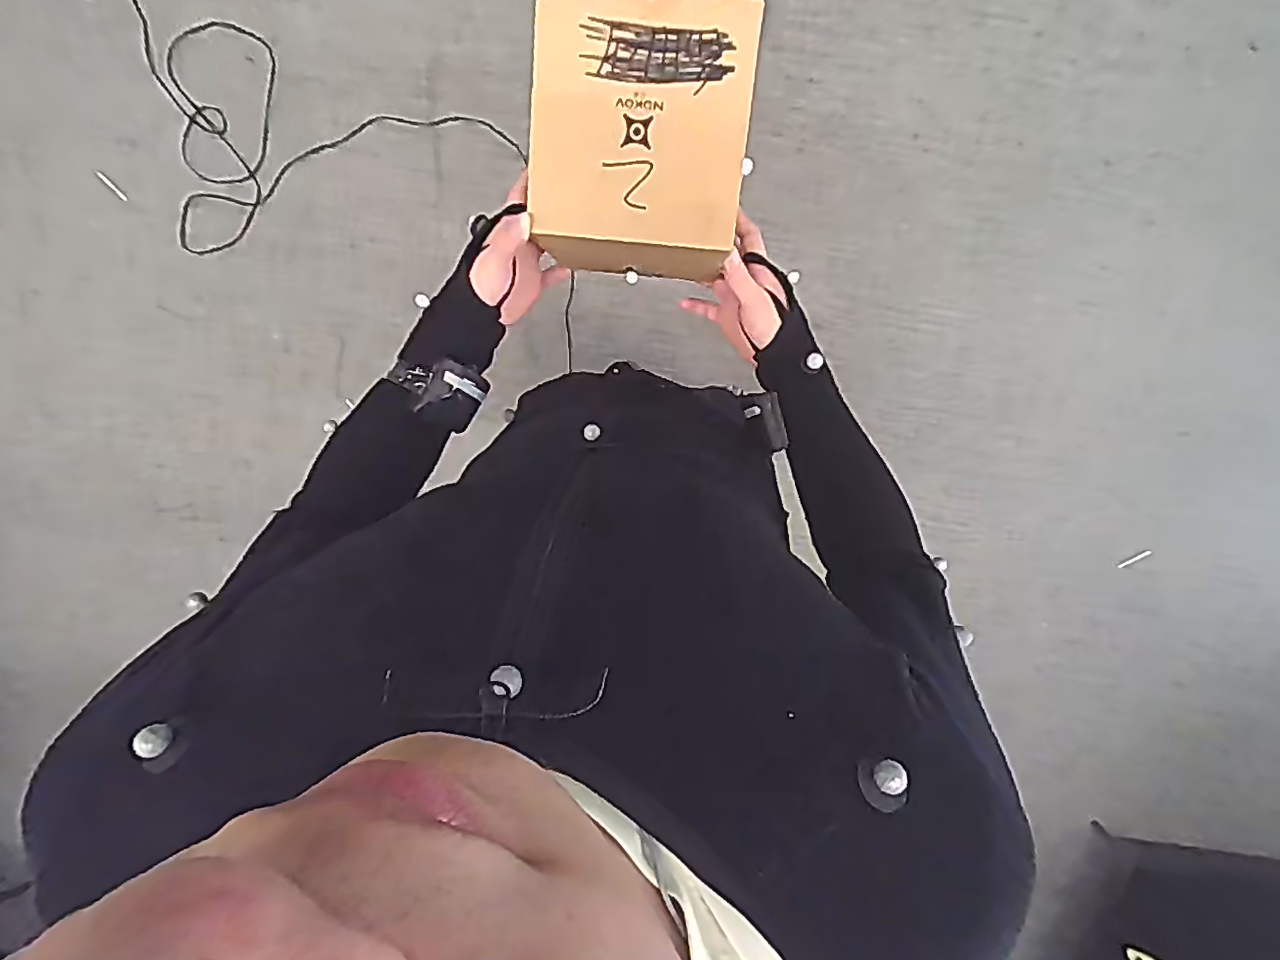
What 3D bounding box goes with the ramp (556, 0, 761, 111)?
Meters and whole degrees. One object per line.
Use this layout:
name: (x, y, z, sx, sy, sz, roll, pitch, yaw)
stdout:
ramp: (0.084, -1.429, 1.187, 0.509, 0.206, 0.991, 5, 105, -1)
